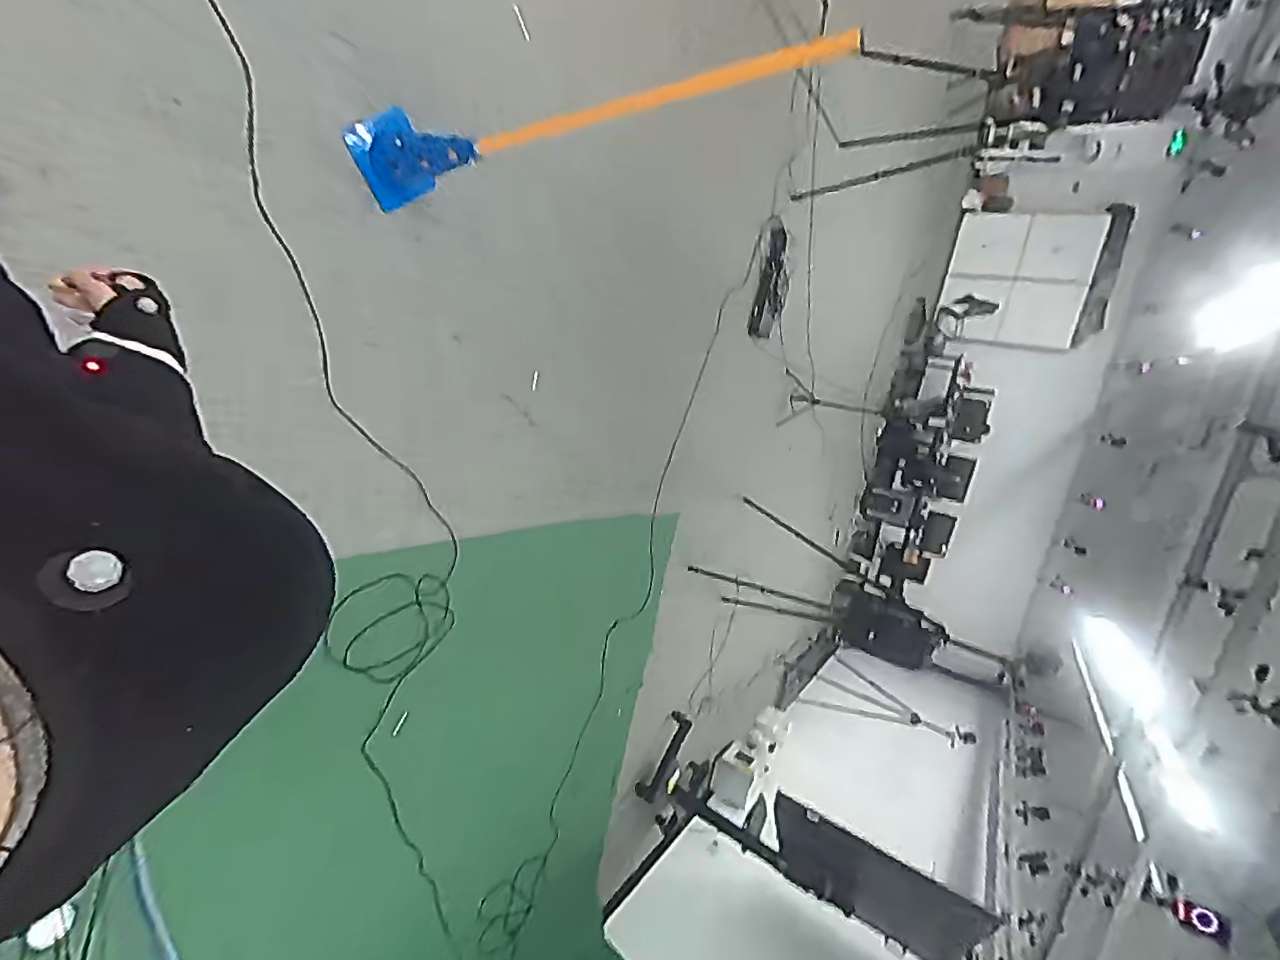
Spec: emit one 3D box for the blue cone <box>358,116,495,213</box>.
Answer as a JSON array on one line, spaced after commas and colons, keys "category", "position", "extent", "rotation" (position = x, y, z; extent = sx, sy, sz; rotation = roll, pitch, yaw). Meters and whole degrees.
[{"category": "blue cone", "position": [-0.505, -0.806, 1.353], "extent": [0.193, 0.380, 0.192], "rotation": [-54, 143, -29]}]
